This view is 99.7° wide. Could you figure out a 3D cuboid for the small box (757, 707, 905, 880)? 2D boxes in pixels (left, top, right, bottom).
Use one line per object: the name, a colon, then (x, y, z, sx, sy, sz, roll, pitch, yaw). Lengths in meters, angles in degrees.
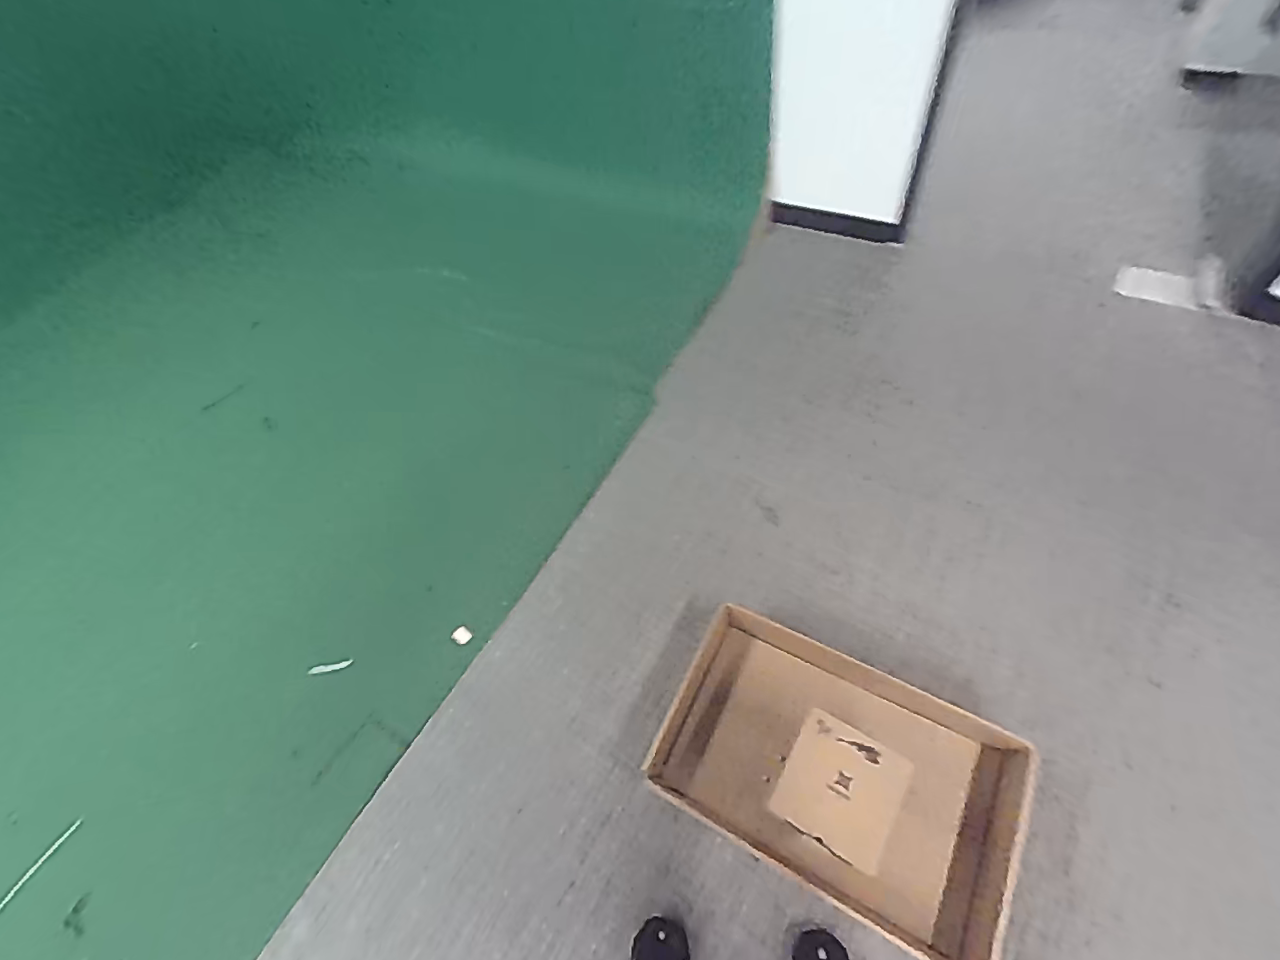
small box: (0.308, 0.512, 0.896, 0.168, 0.176, 0.179, 26, 67, 23)
